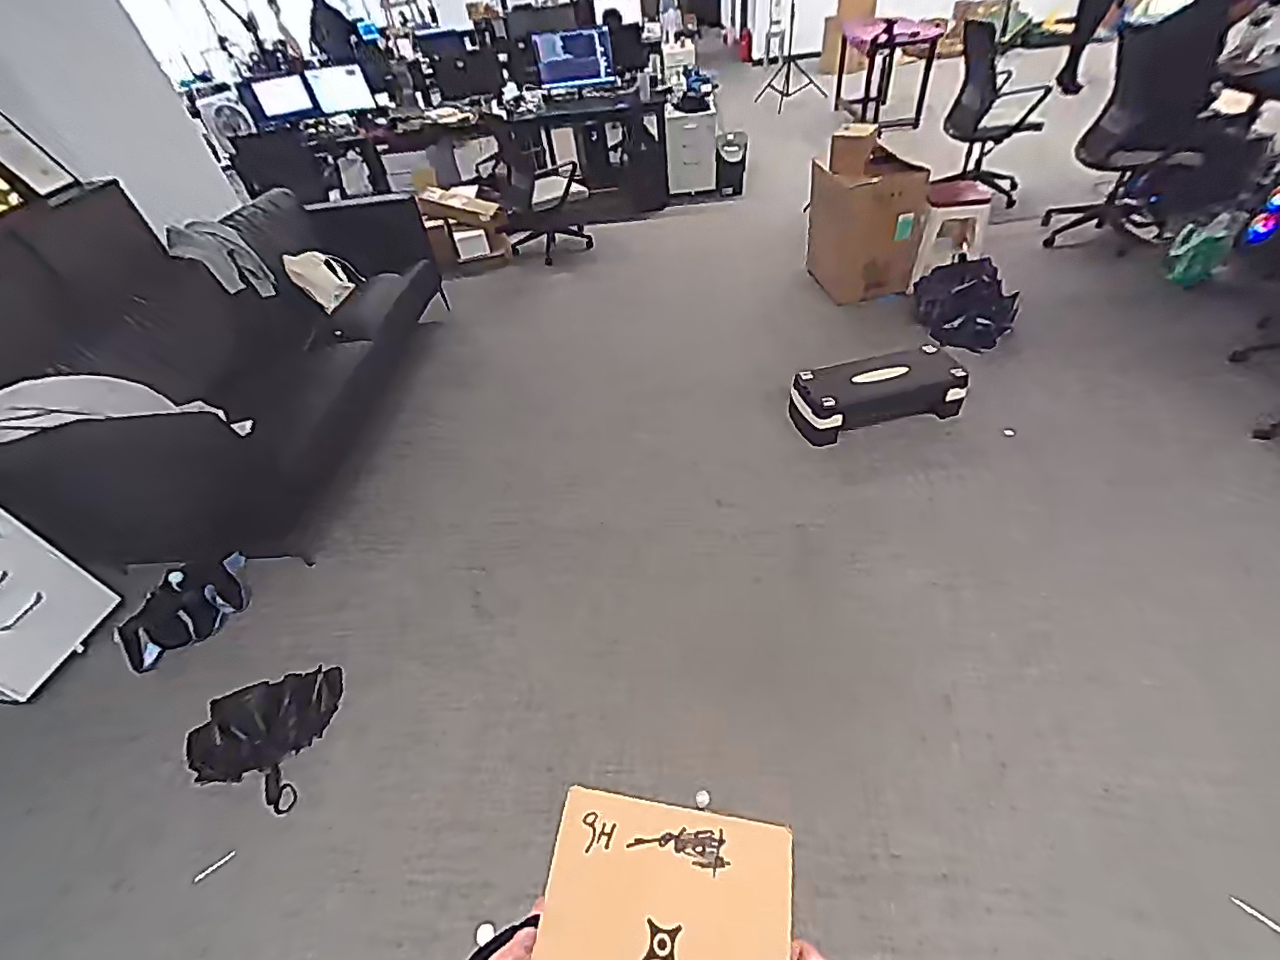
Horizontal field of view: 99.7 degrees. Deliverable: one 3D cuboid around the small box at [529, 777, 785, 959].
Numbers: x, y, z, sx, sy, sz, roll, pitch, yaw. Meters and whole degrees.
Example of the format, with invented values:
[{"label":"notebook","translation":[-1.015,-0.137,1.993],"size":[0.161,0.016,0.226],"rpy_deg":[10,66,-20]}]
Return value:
[{"label":"small box","translation":[0.017,0.349,0.421],"size":[0.168,0.176,0.179],"rpy_deg":[5,57,8]}]
